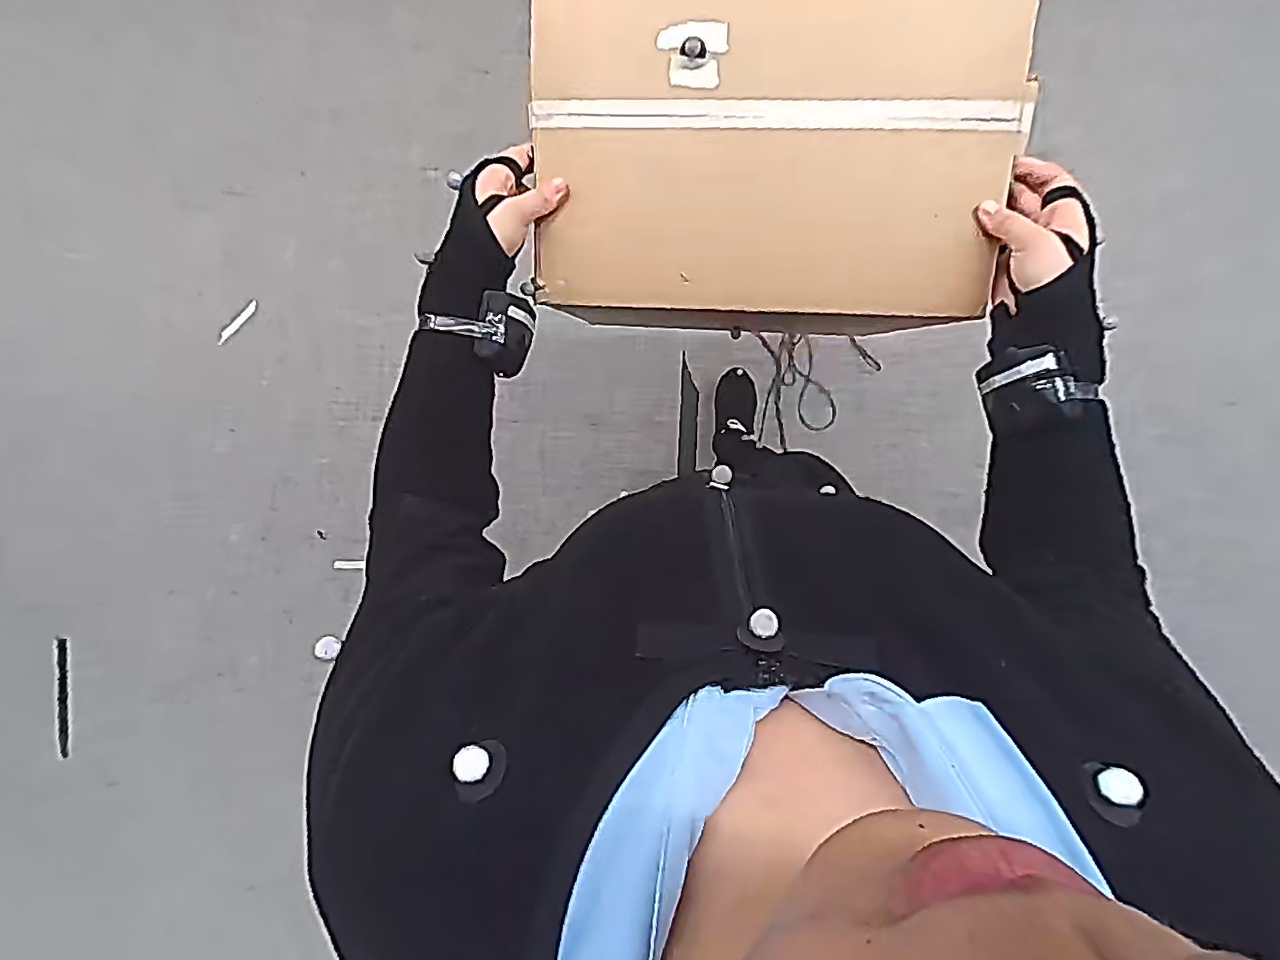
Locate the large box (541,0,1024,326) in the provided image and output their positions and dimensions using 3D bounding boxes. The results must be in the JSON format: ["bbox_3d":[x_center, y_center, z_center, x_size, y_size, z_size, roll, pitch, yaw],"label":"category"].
[{"bbox_3d":[0.125,-0.343,0.613,0.408,0.320,0.320,3,101,5],"label":"large box"}]
